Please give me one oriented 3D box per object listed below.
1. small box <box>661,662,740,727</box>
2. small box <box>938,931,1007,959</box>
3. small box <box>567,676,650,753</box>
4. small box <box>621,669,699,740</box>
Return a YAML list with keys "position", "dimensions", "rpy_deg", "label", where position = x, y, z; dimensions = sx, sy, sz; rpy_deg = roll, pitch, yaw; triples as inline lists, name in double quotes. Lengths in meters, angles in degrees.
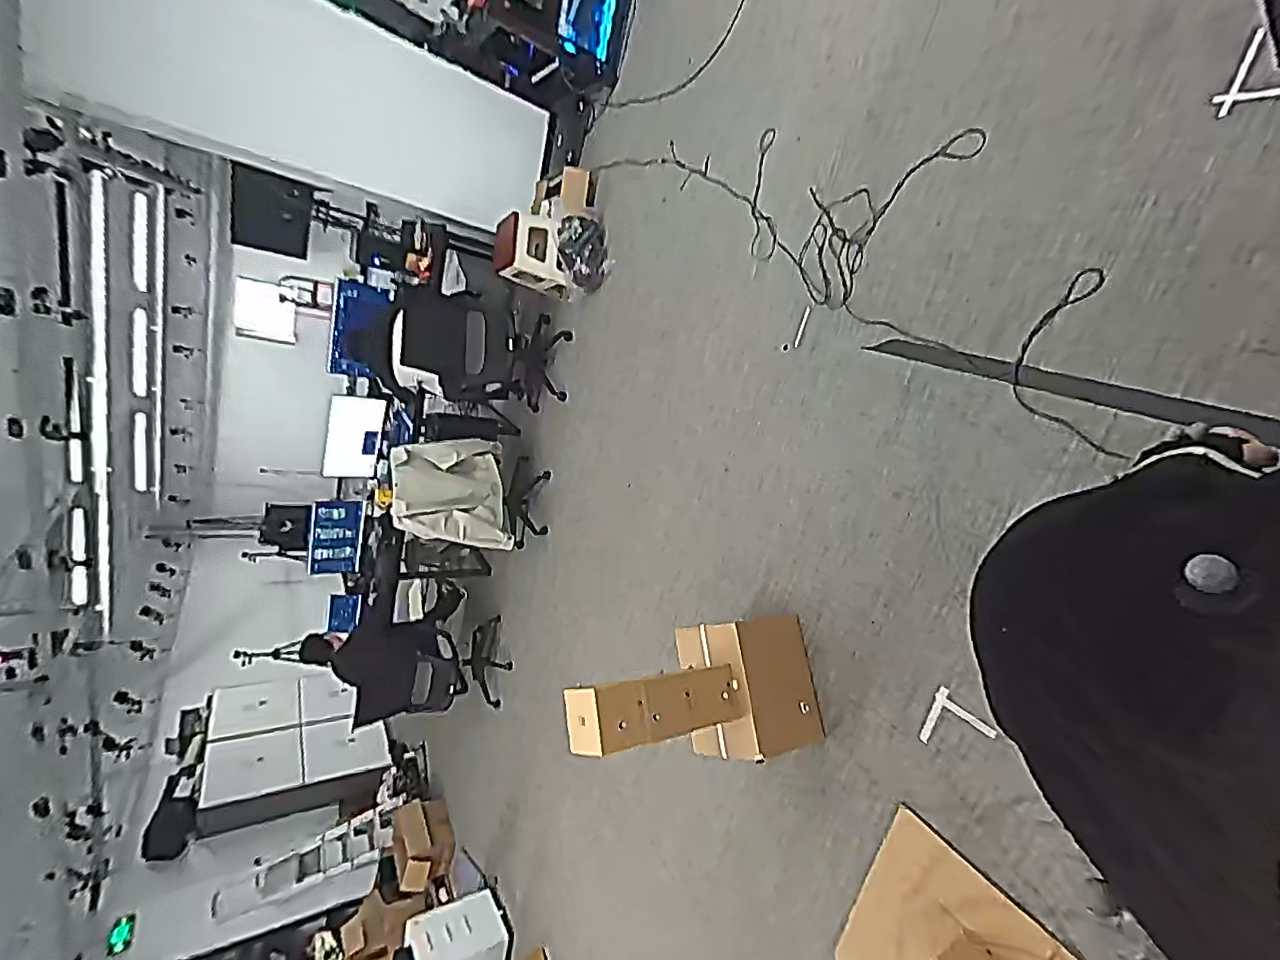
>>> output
- position: [0.185, 0.667, 1.690]
  dimensions: [0.179, 0.176, 0.168]
  rpy_deg: [-30, 63, 49]
  label: "small box"
- position: [0.803, 1.237, 1.276]
  dimensions: [0.168, 0.176, 0.179]
  rpy_deg: [21, 104, 52]
  label: "small box"
- position: [-0.083, 0.647, 1.505]
  dimensions: [0.179, 0.176, 0.168]
  rpy_deg: [-31, 62, 50]
  label: "small box"
- position: [0.049, 0.660, 1.599]
  dimensions: [0.179, 0.176, 0.168]
  rpy_deg: [-31, 63, 51]
  label: "small box"
